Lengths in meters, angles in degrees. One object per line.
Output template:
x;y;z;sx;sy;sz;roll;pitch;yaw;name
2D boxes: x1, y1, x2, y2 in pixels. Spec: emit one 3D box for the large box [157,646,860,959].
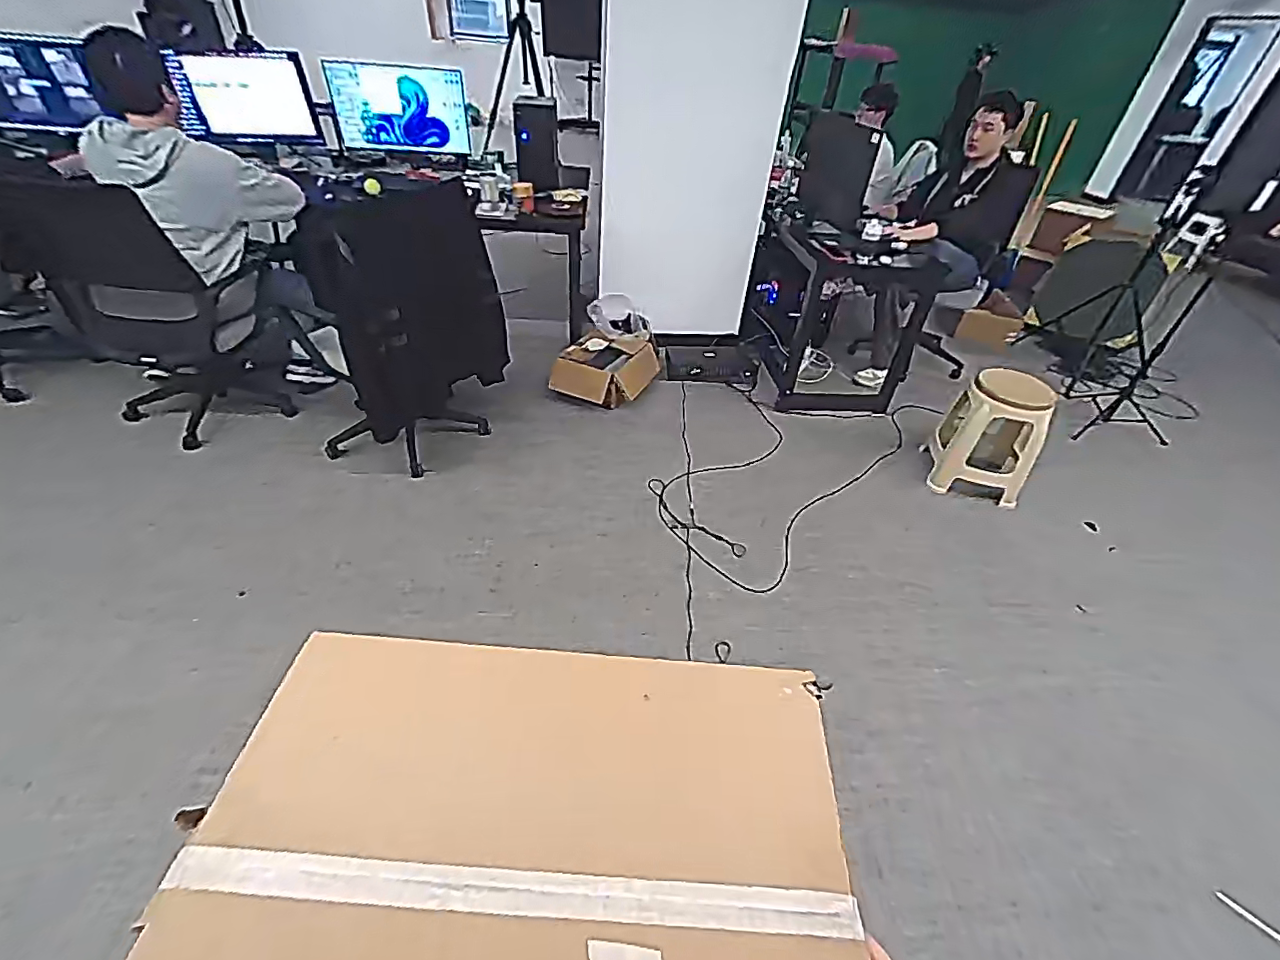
-0.078;0.361;0.432;0.408;0.320;0.320;5;44;0;large box
